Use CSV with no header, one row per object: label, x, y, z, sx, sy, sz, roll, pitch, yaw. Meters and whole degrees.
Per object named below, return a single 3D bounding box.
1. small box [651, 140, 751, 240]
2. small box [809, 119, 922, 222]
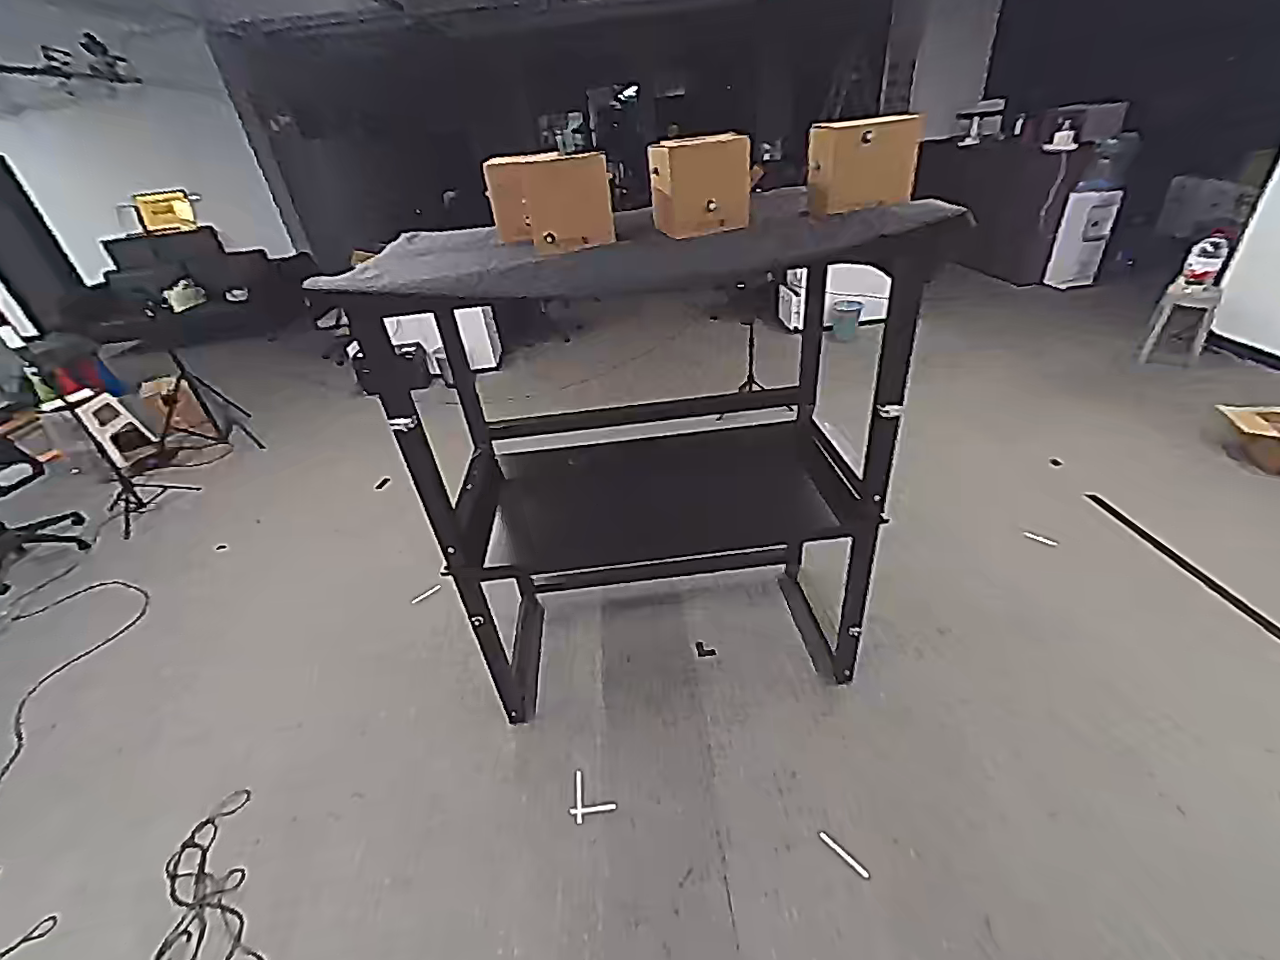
small box,0.126,-0.618,1.153,0.168,0.176,0.179,-12,34,-7
small box,0.460,-0.647,1.135,0.168,0.176,0.179,-6,32,3
